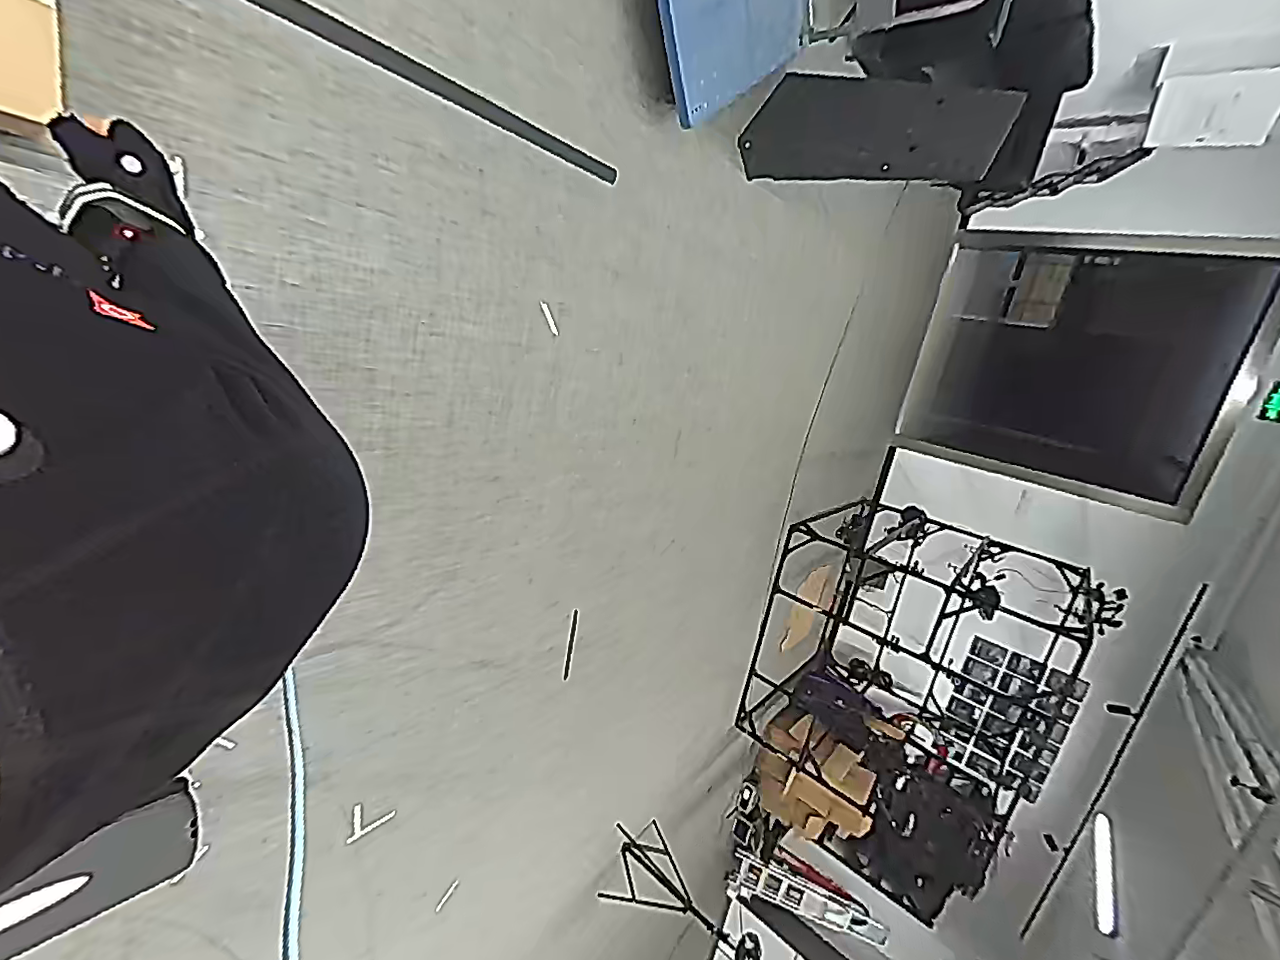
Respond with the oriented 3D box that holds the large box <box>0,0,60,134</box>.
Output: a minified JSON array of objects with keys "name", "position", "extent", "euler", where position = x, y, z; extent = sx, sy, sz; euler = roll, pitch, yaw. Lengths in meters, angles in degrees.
[{"name":"large box","position":[-1.031,-0.673,0.653],"extent":[0.408,0.320,0.320],"euler":[-8,115,-53]}]
